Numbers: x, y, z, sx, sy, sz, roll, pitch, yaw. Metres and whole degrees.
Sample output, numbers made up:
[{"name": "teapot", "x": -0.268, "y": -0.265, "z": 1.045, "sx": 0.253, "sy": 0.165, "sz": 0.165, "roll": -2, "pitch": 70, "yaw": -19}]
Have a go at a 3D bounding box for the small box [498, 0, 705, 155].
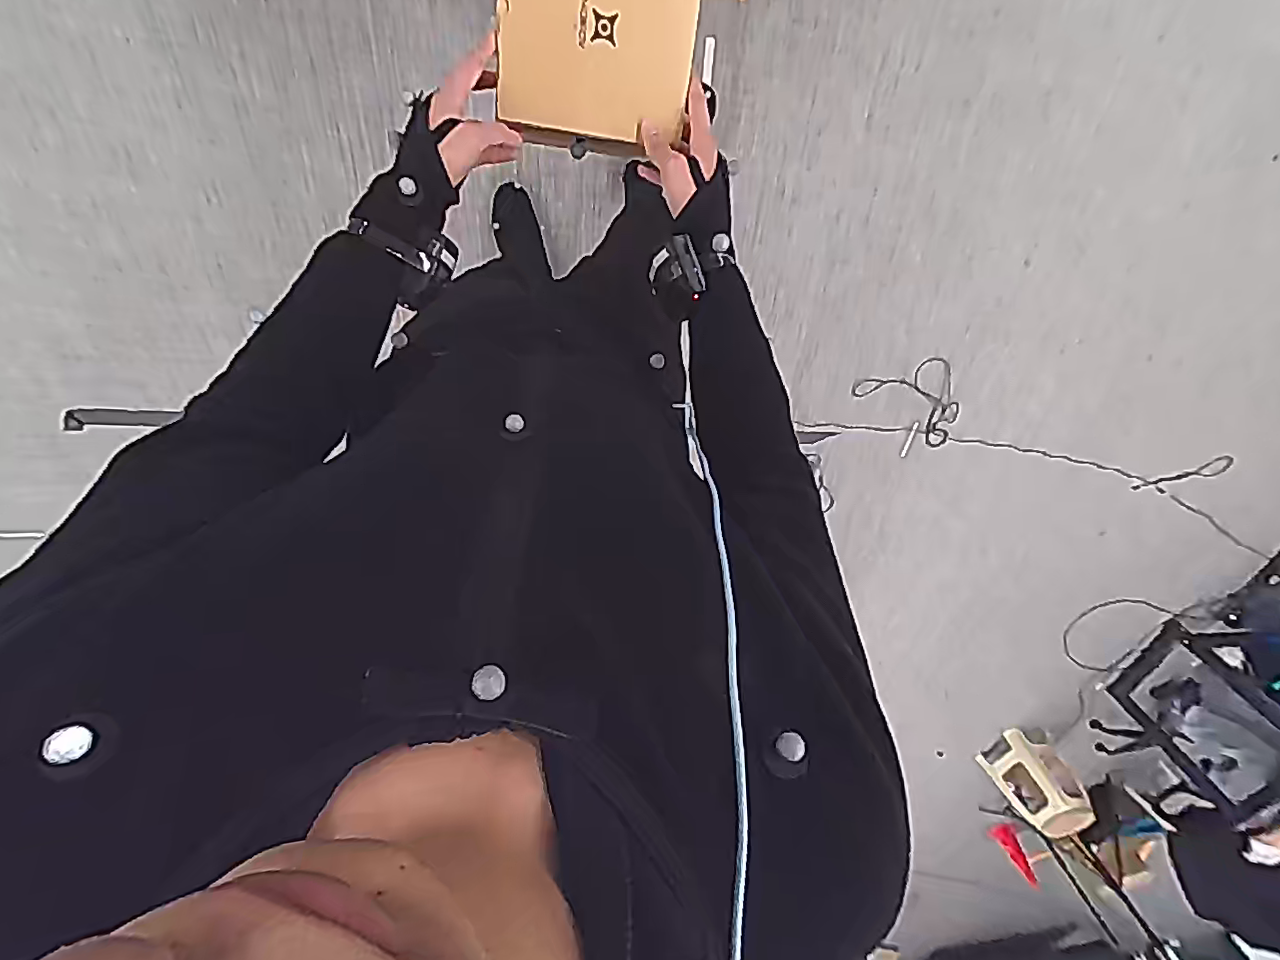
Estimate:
[{"name": "small box", "x": -0.045, "y": -0.429, "z": 0.533, "sx": 0.179, "sy": 0.176, "sz": 0.168, "roll": 2, "pitch": 117, "yaw": -12}]
